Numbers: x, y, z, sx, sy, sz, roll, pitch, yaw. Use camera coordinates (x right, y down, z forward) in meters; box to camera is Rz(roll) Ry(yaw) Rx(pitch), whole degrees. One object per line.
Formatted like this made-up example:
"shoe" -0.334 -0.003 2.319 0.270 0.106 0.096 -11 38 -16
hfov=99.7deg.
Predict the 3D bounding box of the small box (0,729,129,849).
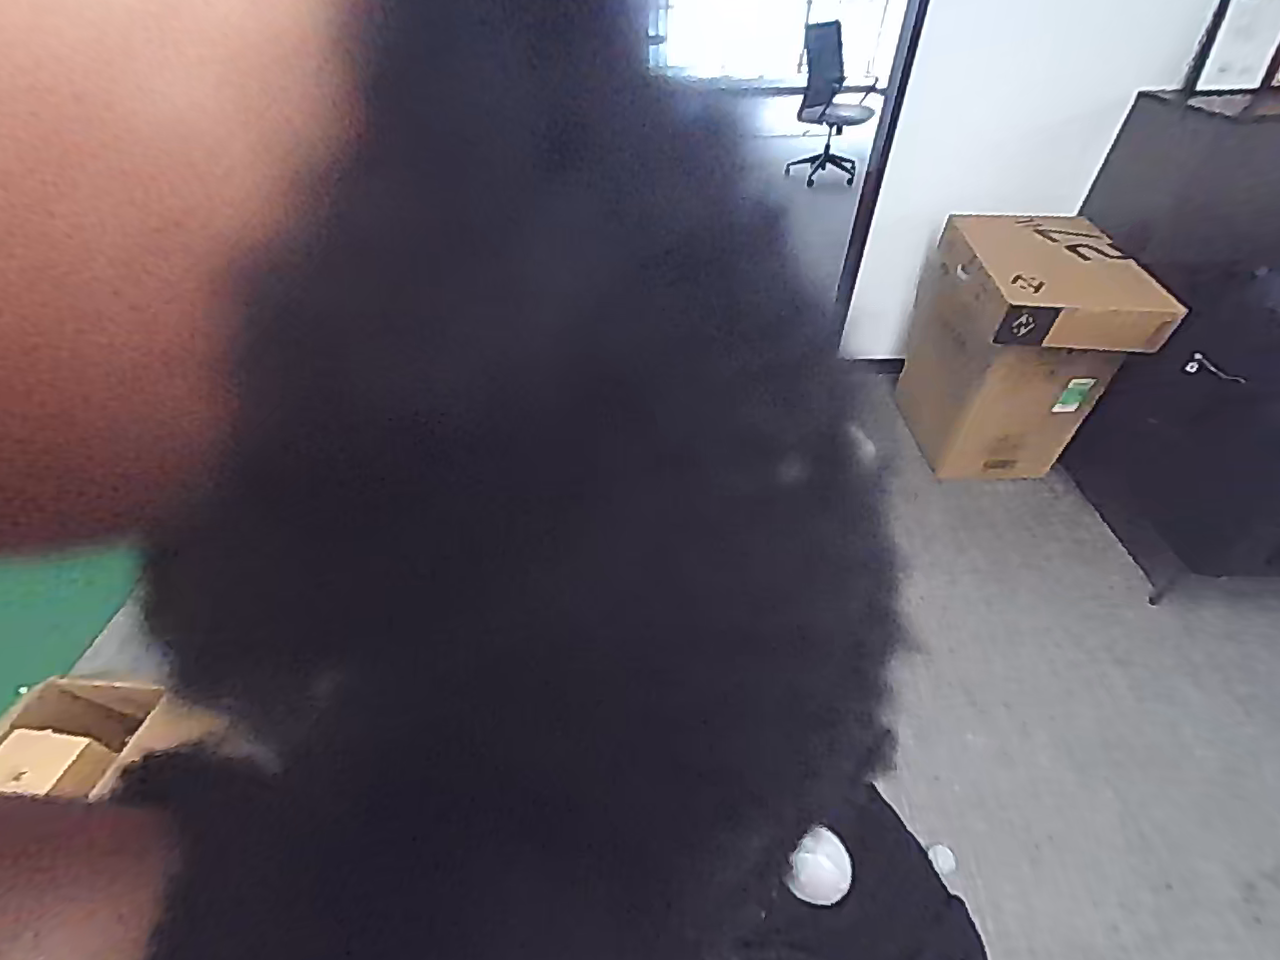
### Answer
"small box" -1.234 0.639 1.113 0.179 0.176 0.168 5 44 4
